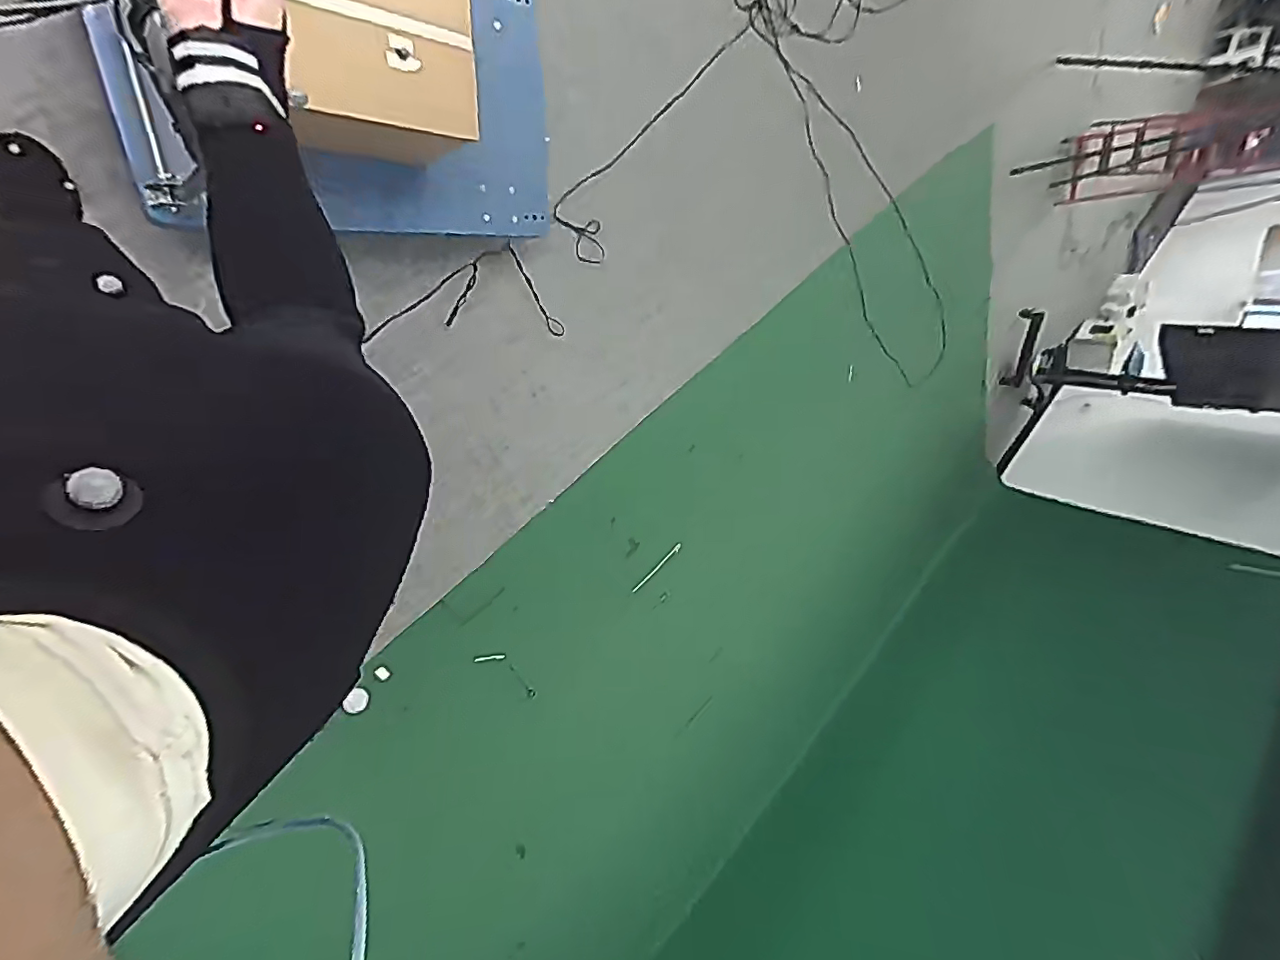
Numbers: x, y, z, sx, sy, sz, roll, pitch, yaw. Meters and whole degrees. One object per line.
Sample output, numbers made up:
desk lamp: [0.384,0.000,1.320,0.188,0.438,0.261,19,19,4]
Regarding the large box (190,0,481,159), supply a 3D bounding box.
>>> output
large box: [-0.557,-0.816,0.993,0.408,0.320,0.320,-14,116,-38]
